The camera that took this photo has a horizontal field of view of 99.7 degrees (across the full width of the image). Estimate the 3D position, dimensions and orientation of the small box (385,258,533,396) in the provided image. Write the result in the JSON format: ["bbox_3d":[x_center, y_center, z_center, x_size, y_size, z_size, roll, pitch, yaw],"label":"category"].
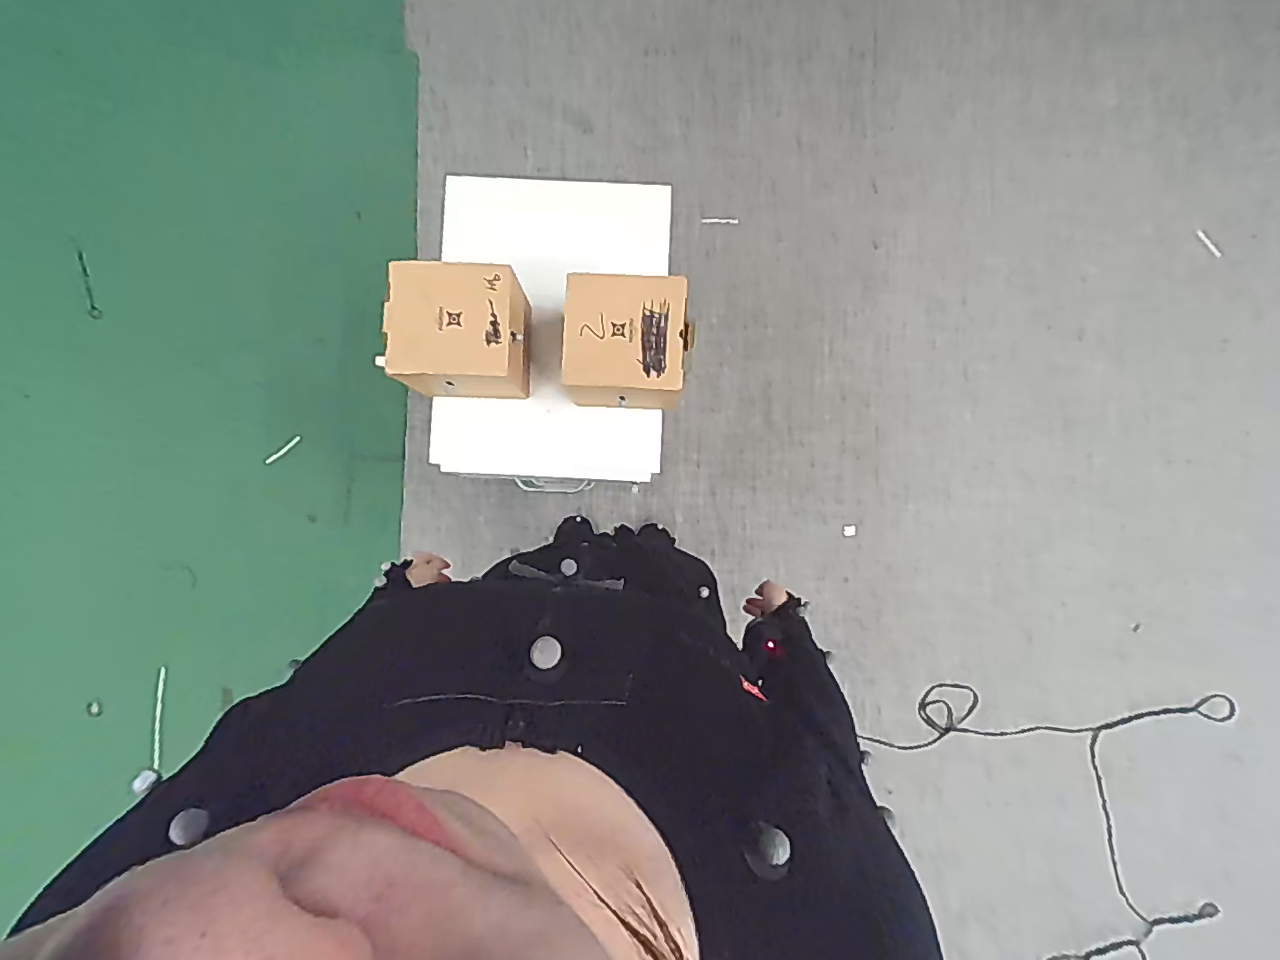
[{"bbox_3d":[-0.274,-0.229,0.848,0.179,0.176,0.168,1,88,-1],"label":"small box"}]
